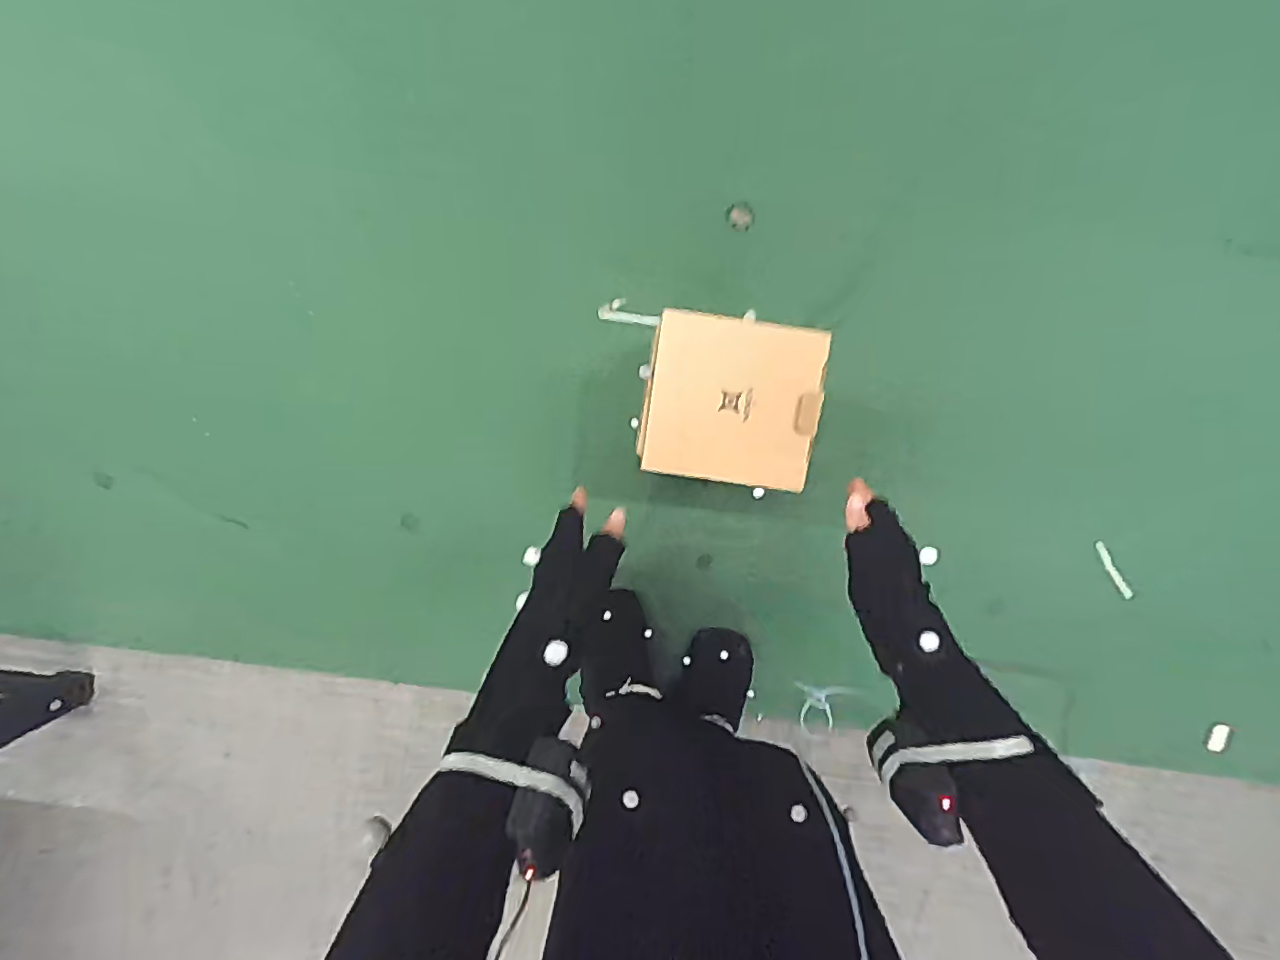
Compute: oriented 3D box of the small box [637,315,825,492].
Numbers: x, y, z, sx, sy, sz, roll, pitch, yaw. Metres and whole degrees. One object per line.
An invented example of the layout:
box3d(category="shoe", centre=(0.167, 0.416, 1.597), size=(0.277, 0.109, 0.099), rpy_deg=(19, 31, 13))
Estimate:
box3d(category="small box", centre=(0.092, -0.085, 0.637), size=(0.179, 0.176, 0.168), rpy_deg=(7, 96, -2))
